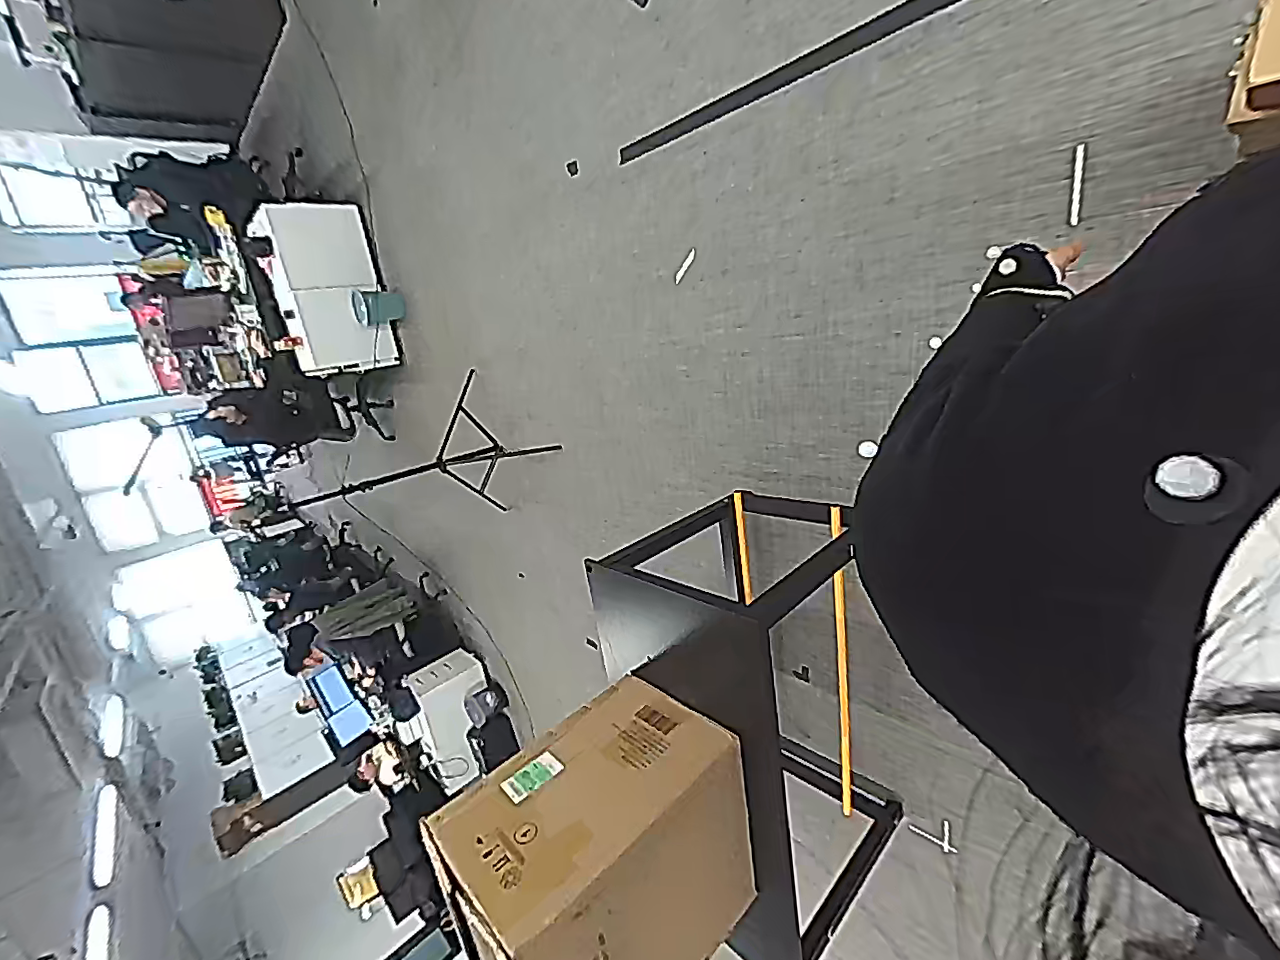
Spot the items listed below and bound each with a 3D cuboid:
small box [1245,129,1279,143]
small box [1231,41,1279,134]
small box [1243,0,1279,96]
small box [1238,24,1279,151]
[{"bbox_3d":[0.918,-0.564,0.700,0.168,0.176,0.179,10,115,46],"label":"small box"},{"bbox_3d":[0.802,-0.509,0.600,0.168,0.176,0.179,17,121,44],"label":"small box"},{"bbox_3d":[0.688,-0.472,0.486,0.168,0.176,0.179,13,118,46],"label":"small box"},{"bbox_3d":[1.032,-0.614,0.807,0.179,0.176,0.168,4,111,47],"label":"small box"}]
